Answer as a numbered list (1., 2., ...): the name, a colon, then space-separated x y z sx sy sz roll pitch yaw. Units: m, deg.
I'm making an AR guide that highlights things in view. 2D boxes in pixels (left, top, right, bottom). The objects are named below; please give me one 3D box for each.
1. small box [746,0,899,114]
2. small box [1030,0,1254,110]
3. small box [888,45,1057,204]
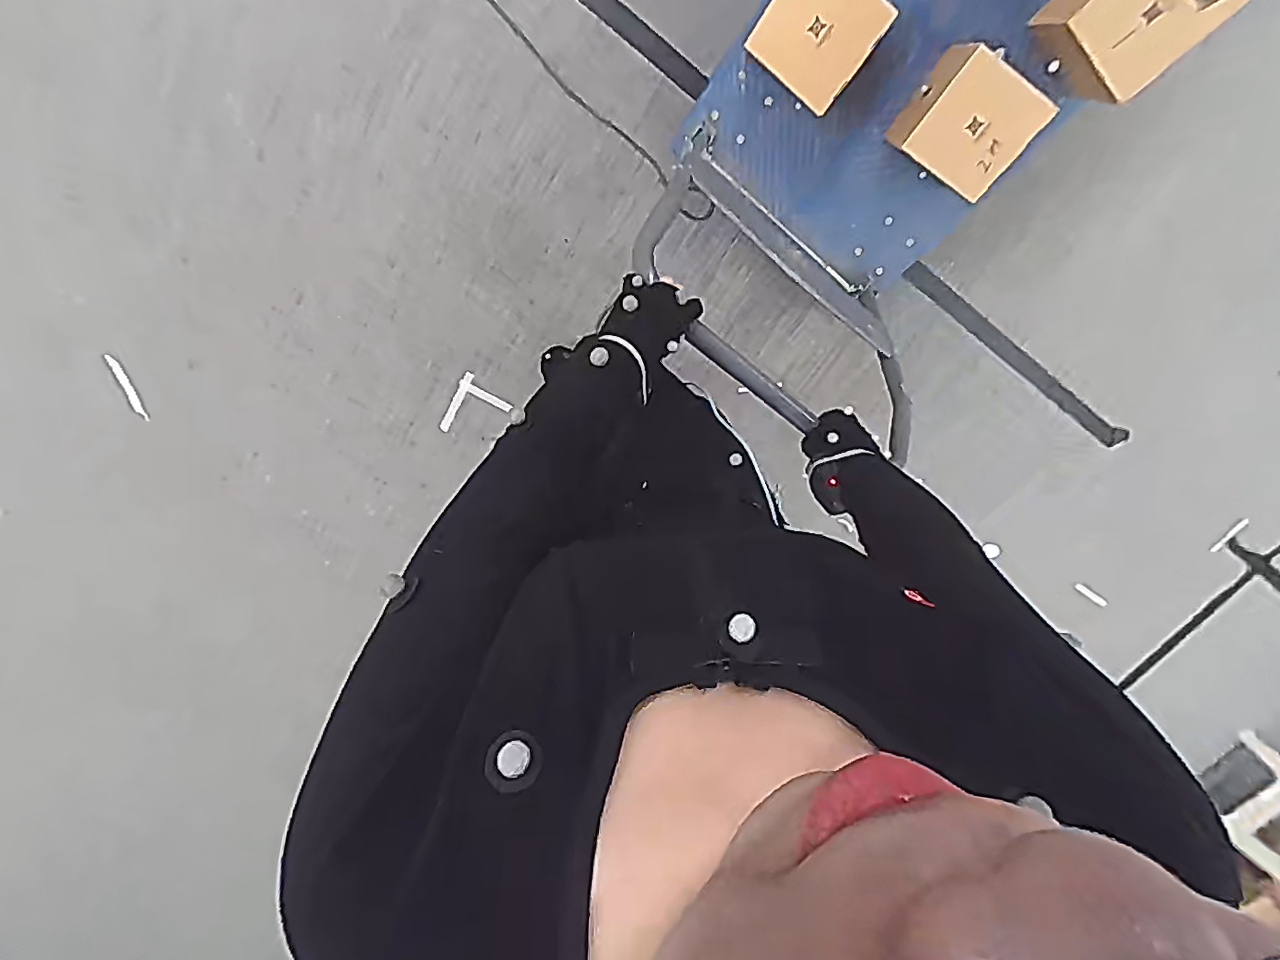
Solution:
1. small box: 0.298 -0.766 0.922 0.179 0.176 0.168 32 127 -15
2. small box: 0.770 -0.729 0.849 0.168 0.176 0.179 38 126 -17
3. small box: 0.576 -0.632 0.967 0.179 0.176 0.168 30 128 -12
